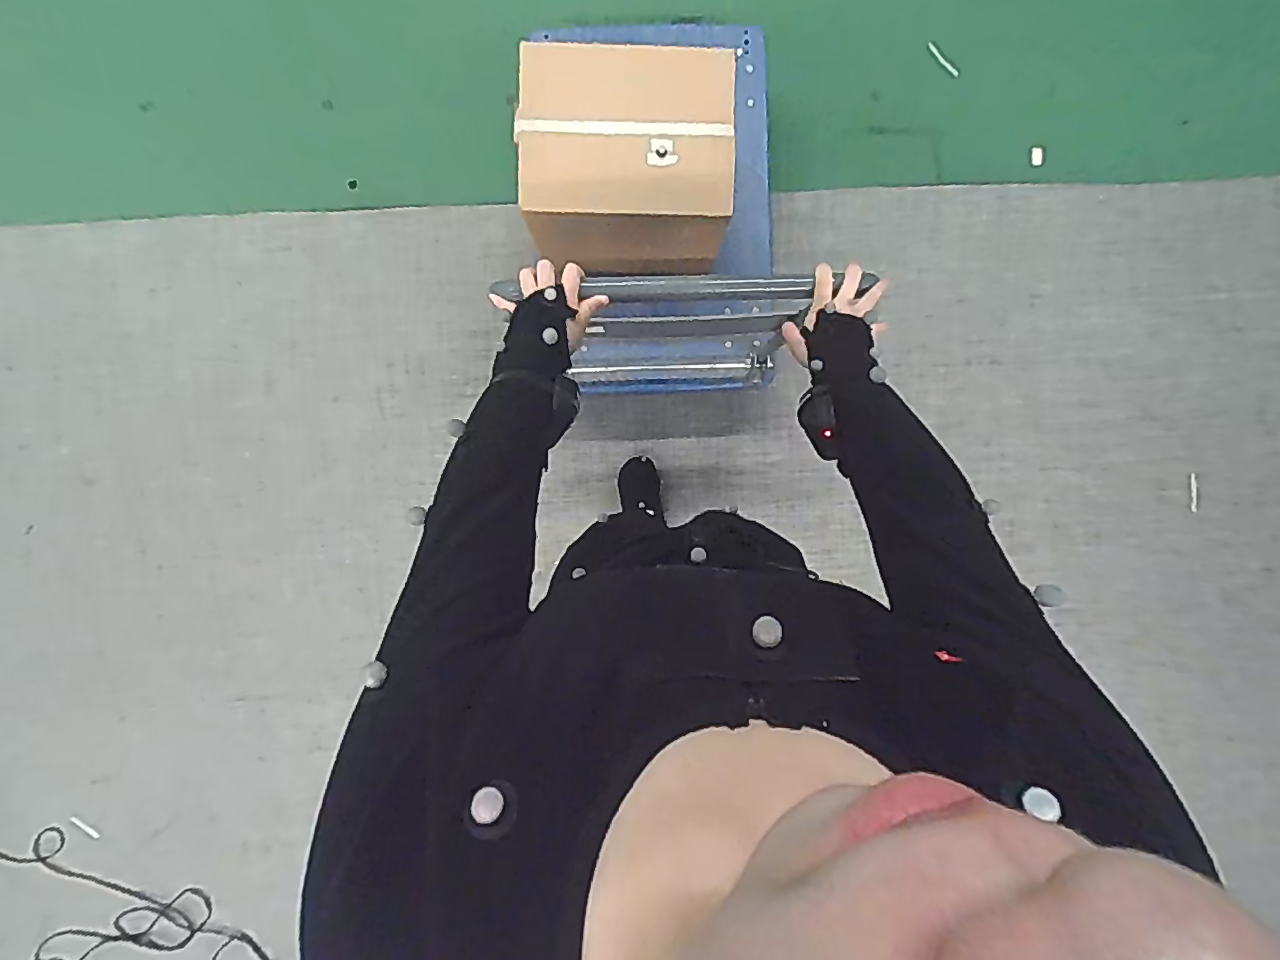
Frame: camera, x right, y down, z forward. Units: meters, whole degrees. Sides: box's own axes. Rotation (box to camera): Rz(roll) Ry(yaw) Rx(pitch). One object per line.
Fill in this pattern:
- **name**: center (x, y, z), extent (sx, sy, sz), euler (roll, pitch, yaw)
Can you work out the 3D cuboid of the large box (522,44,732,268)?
- **large box**: center (-0.029, -0.669, 1.174), extent (0.408, 0.320, 0.320), euler (1, 91, -2)
